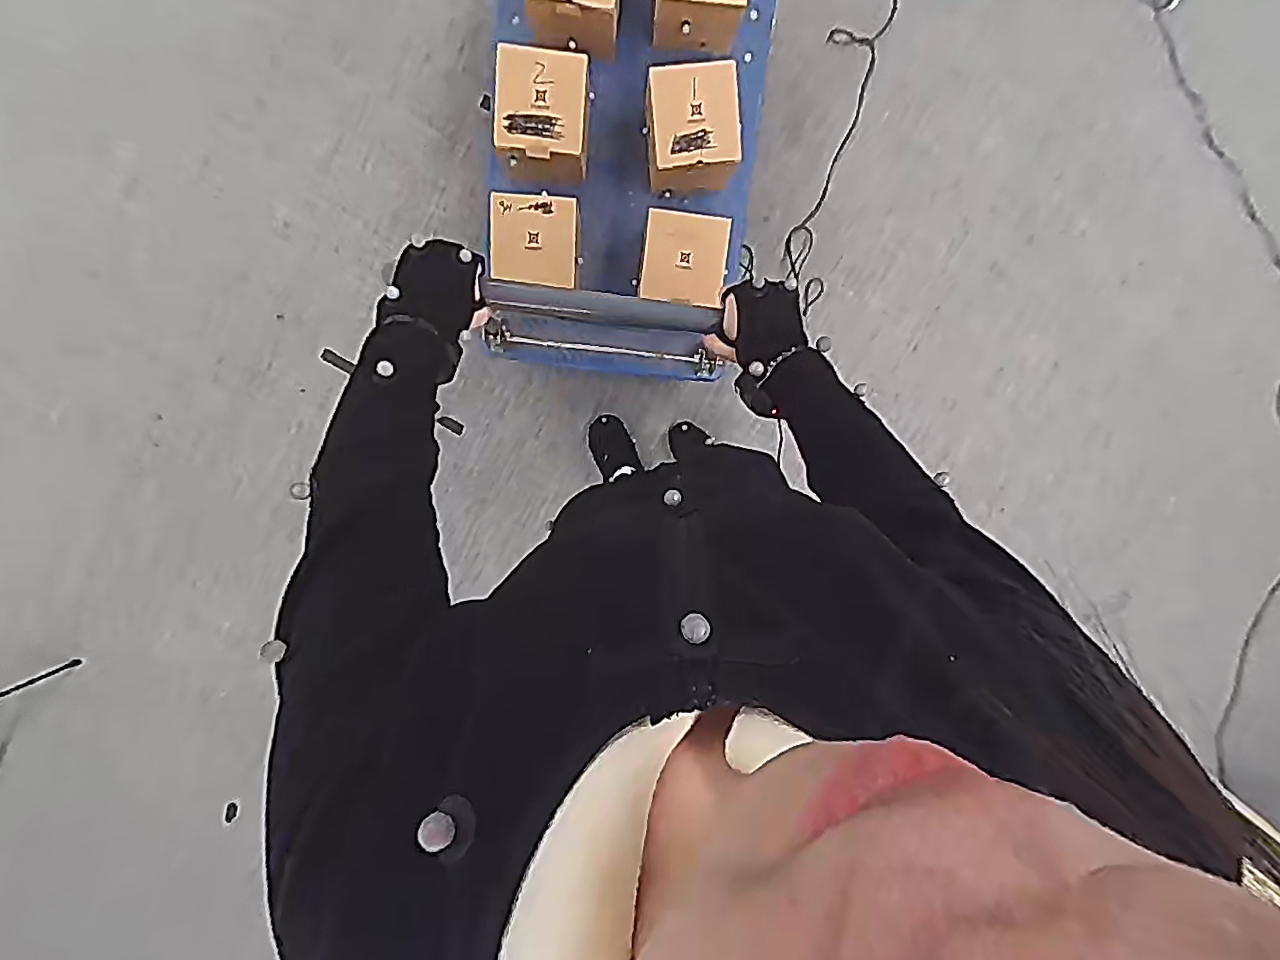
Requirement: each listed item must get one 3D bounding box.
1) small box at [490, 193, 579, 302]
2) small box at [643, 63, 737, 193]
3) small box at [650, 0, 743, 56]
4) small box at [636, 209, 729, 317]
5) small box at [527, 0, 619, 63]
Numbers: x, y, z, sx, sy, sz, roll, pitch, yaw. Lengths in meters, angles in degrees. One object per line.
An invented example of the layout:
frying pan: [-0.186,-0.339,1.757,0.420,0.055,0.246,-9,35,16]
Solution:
small box: [-0.215,-0.474,1.129,0.168,0.176,0.179,2,101,-5]
small box: [0.097,-0.704,1.103,0.168,0.176,0.179,-6,101,-2]
small box: [0.110,-0.971,1.052,0.168,0.176,0.179,3,101,-4]
small box: [0.082,-0.451,1.152,0.168,0.176,0.179,6,100,-5]
small box: [-0.124,-0.956,1.039,0.168,0.176,0.179,7,102,-5]
